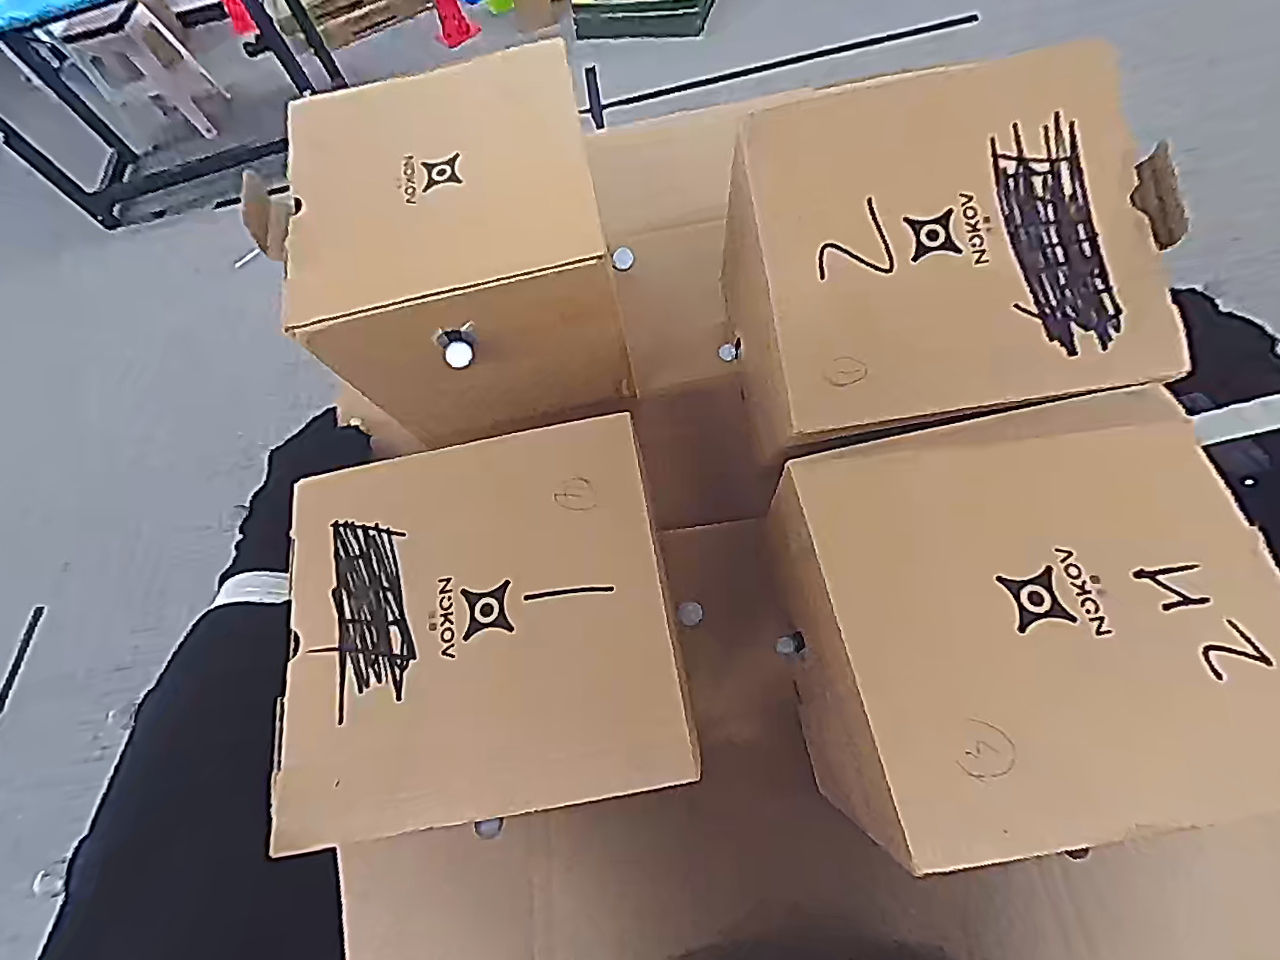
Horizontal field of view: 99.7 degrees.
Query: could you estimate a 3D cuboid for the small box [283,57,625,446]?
[{"bbox_3d":[-0.111,-0.141,0.385,0.179,0.176,0.168,-13,71,3],"label":"small box"}]
